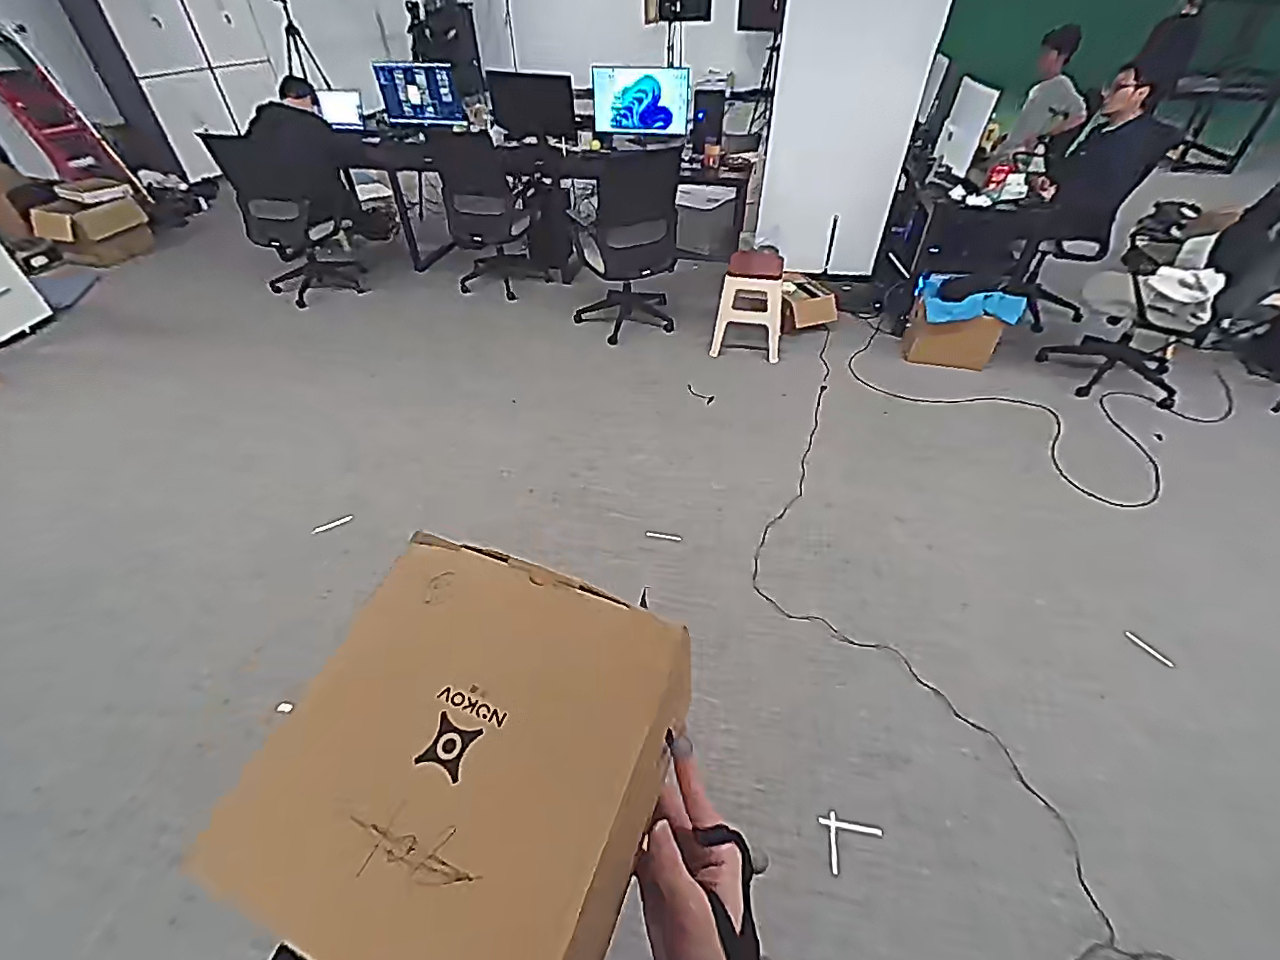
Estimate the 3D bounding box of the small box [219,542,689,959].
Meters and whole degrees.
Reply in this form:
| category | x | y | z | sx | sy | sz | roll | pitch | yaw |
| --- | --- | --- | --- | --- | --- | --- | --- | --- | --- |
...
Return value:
| category | x | y | z | sx | sy | sz | roll | pitch | yaw |
| --- | --- | --- | --- | --- | --- | --- | --- | --- | --- |
| small box | -0.074 | 0.168 | 0.323 | 0.168 | 0.176 | 0.179 | 14 | 59 | 16 |
